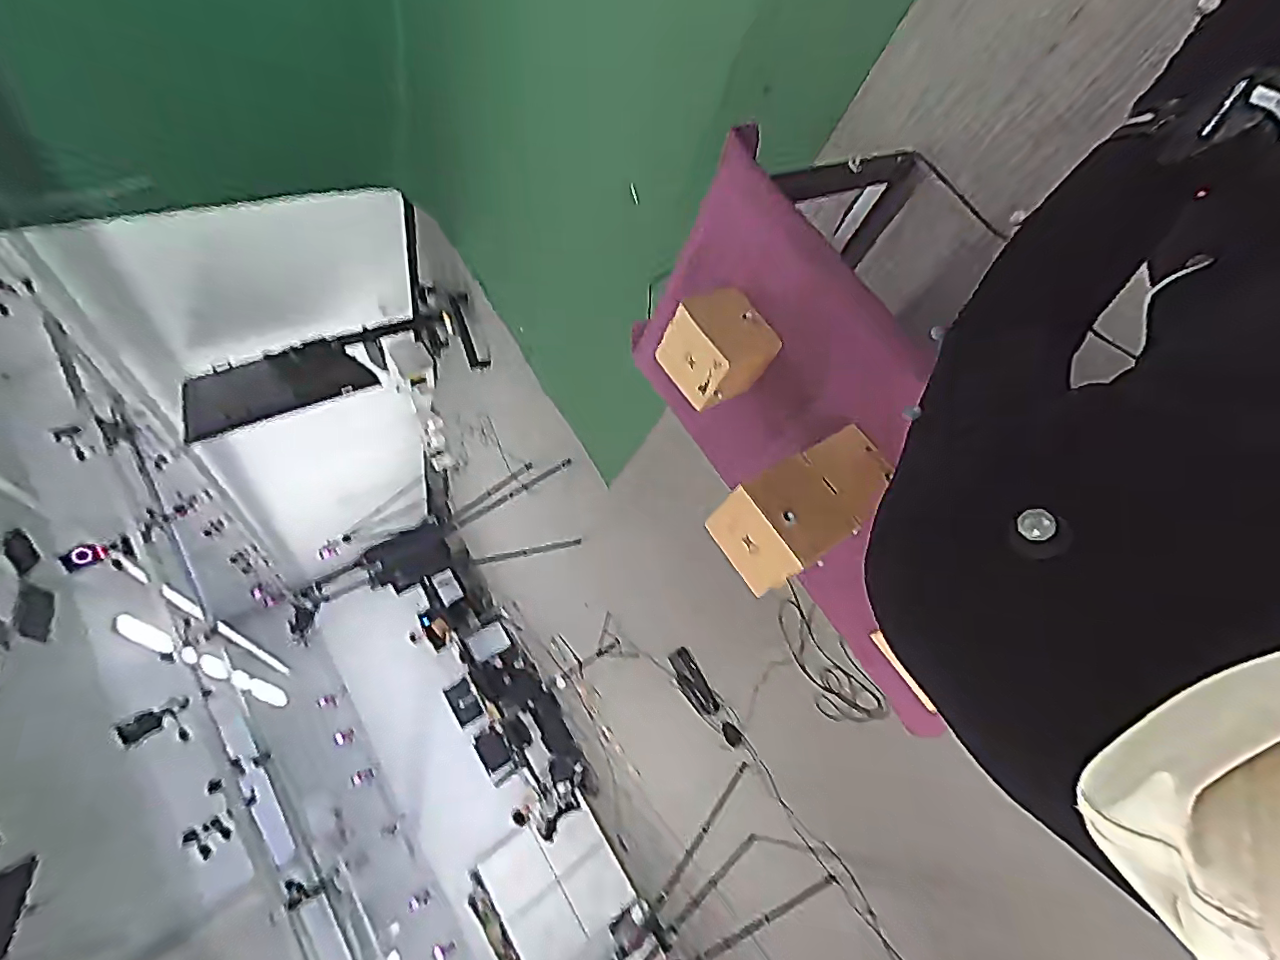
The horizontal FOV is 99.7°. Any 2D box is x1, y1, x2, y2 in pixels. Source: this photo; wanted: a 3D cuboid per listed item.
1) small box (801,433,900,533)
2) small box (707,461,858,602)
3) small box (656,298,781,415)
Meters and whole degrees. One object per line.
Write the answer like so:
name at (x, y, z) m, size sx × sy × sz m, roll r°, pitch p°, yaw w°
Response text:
small box at (0.389, 0.032, 1.090) m, size 0.168 × 0.176 × 0.179 m, roll 54°, pitch 150°, yaw 16°
small box at (0.264, 0.093, 1.006) m, size 0.179 × 0.176 × 0.168 m, roll 55°, pitch 148°, yaw 16°
small box at (0.170, -0.277, 1.189) m, size 0.179 × 0.176 × 0.168 m, roll 55°, pitch 149°, yaw 14°
